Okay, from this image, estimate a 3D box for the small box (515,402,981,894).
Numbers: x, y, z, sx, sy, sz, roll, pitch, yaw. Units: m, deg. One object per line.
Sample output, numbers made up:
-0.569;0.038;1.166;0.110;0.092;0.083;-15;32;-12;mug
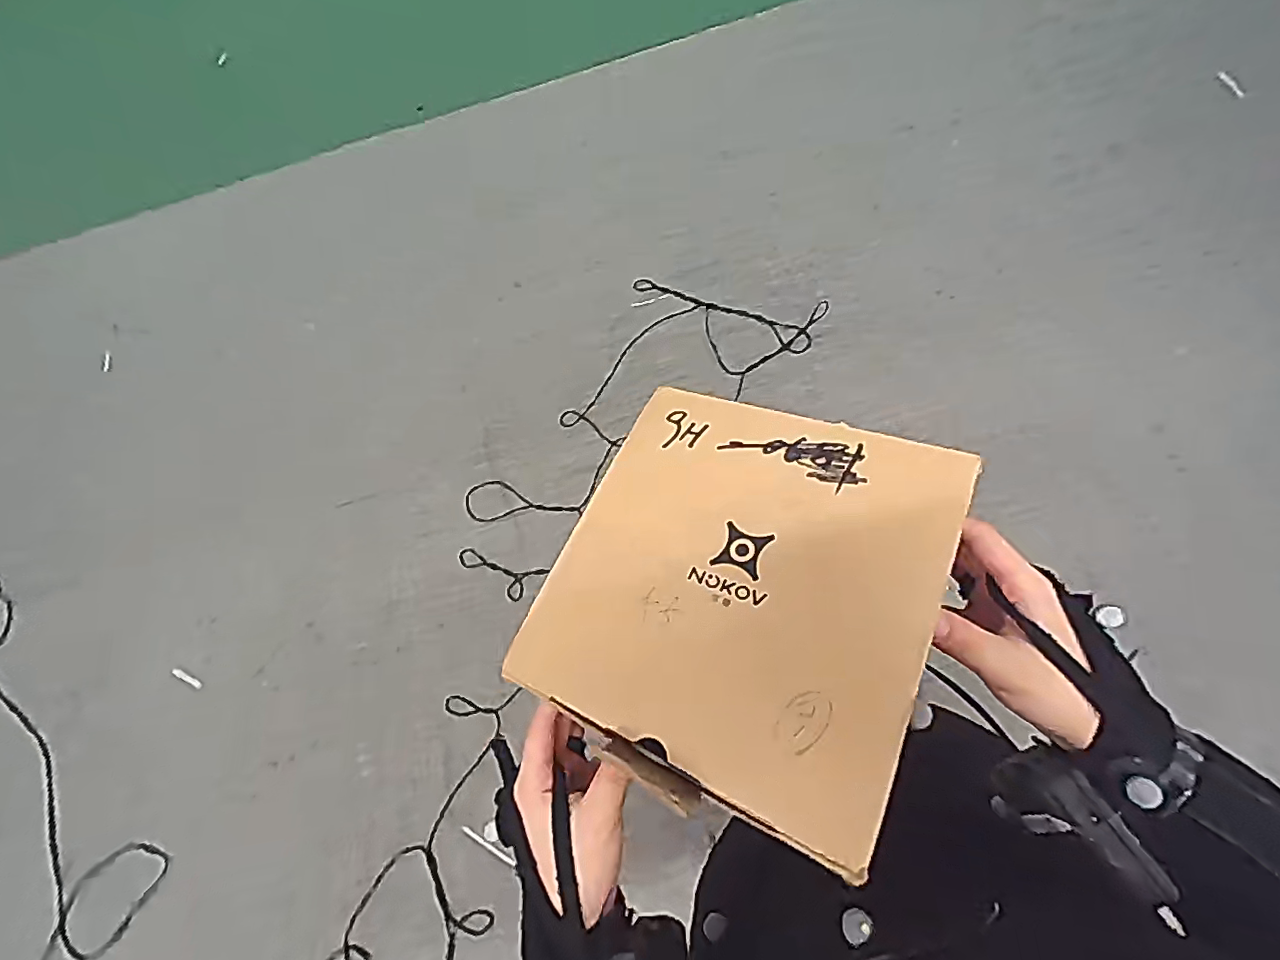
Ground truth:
0.068;0.087;0.314;0.168;0.176;0.179;18;68;26;small box
